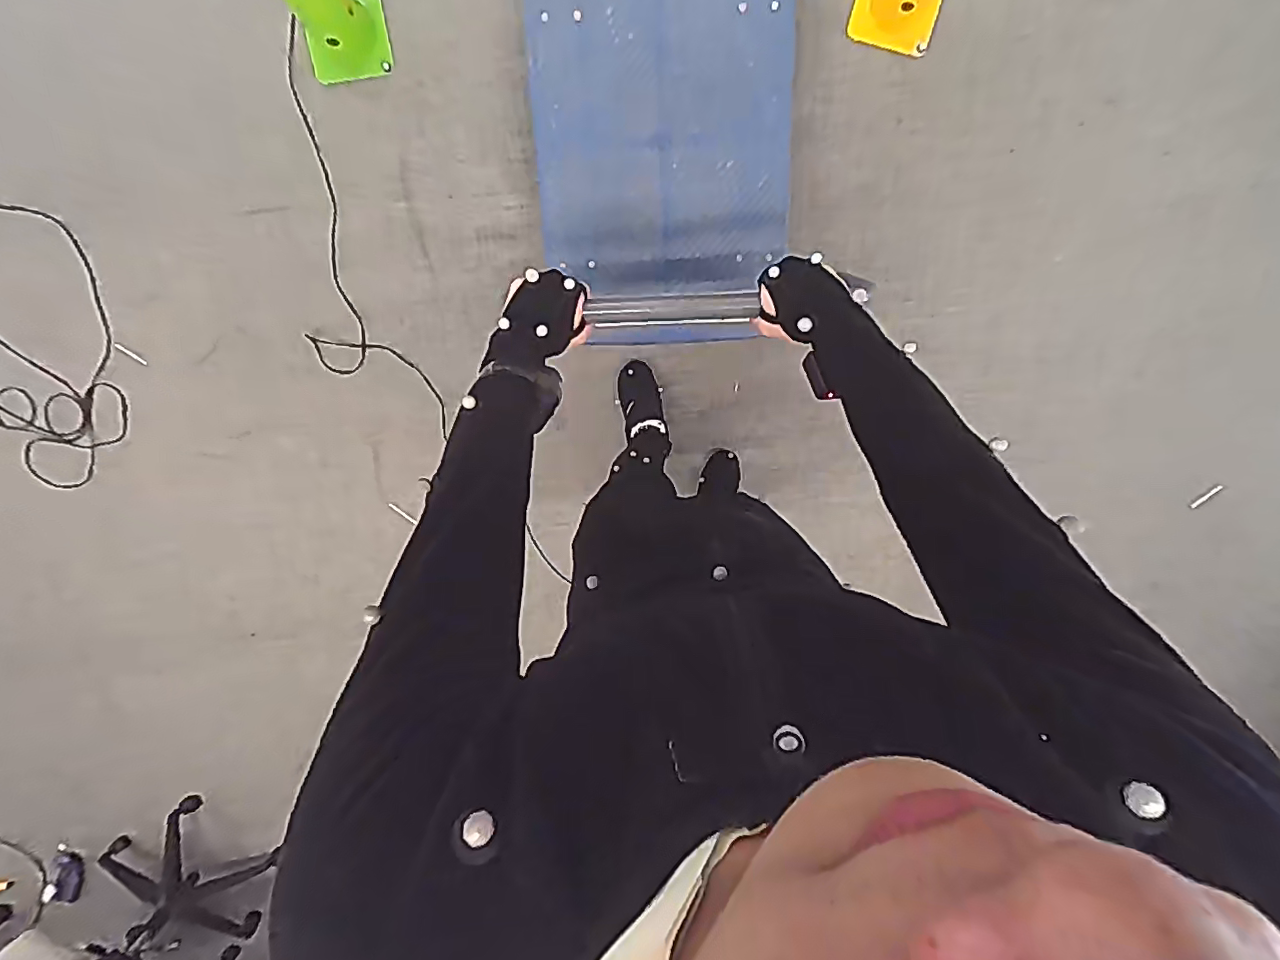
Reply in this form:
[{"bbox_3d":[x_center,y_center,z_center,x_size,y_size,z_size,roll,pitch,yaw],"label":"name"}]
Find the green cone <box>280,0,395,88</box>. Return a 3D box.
[{"bbox_3d":[-0.720,-1.039,1.153,0.202,0.368,0.200,-7,105,5],"label":"green cone"}]
